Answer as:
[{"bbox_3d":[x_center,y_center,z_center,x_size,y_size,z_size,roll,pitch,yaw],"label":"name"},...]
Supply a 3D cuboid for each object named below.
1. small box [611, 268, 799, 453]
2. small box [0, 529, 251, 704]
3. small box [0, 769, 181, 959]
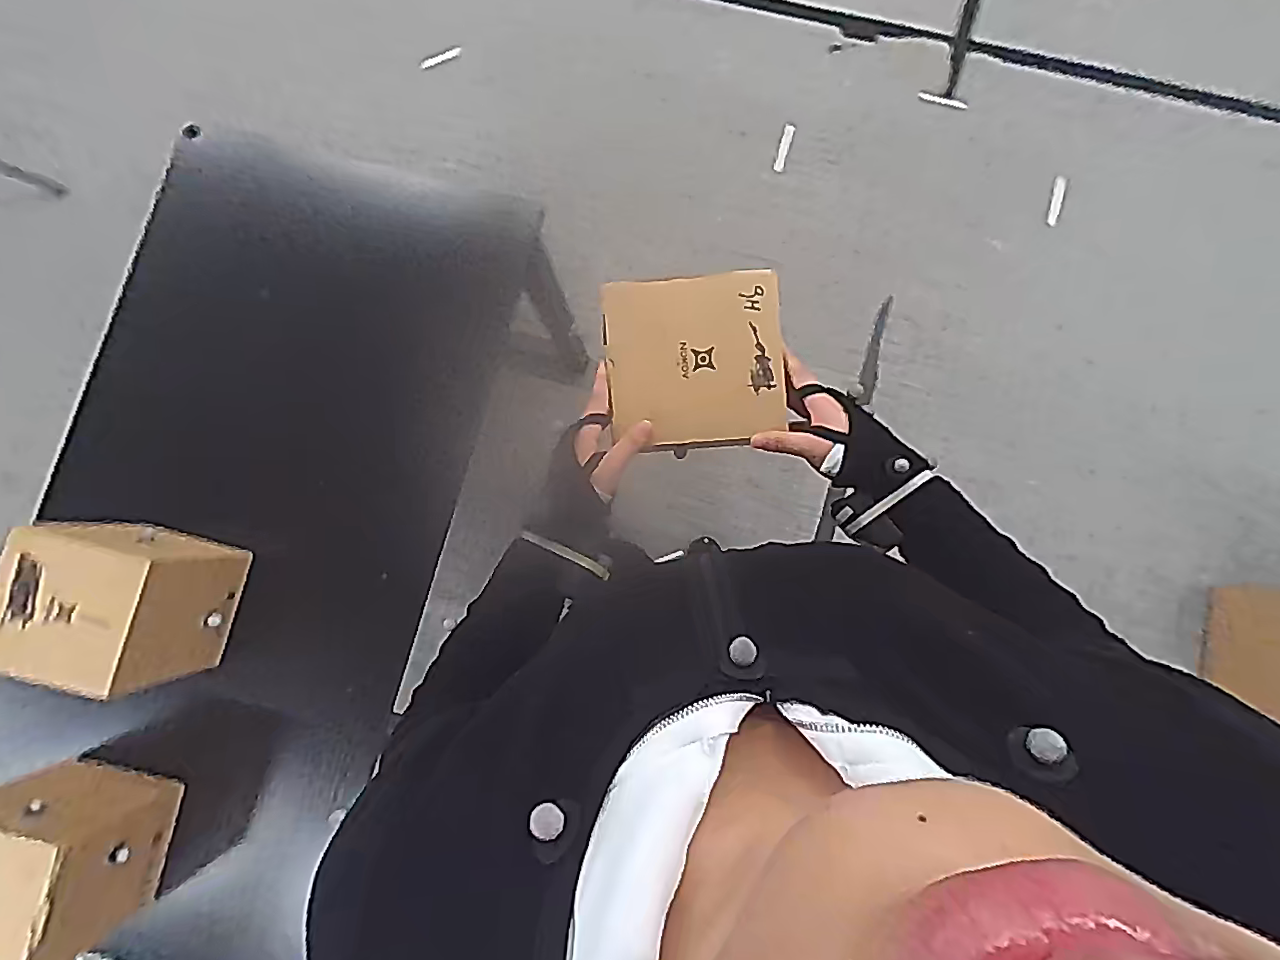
[{"bbox_3d":[0.066,-0.119,0.603,0.179,0.176,0.168,-4,91,2],"label":"small box"},{"bbox_3d":[-0.667,0.165,0.703,0.179,0.176,0.168,14,85,2],"label":"small box"},{"bbox_3d":[-0.737,0.489,0.675,0.179,0.176,0.168,11,84,3],"label":"small box"}]
